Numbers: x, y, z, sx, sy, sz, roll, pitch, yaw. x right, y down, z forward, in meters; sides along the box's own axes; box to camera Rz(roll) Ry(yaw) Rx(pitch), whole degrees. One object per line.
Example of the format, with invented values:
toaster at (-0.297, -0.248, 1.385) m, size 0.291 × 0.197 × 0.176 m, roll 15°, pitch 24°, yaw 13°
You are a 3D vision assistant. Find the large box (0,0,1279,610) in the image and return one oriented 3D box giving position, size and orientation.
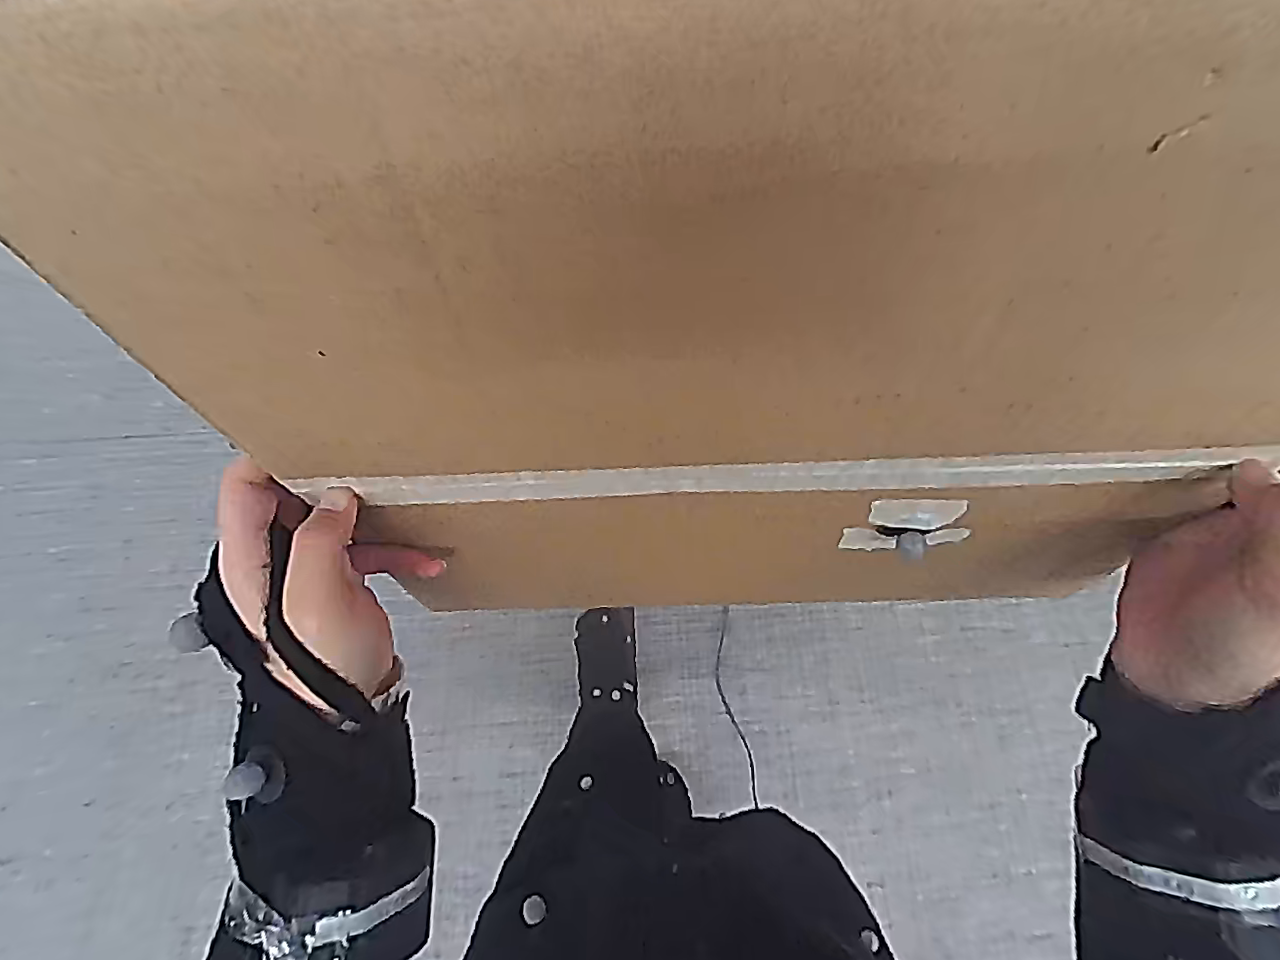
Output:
large box at (0.047, -0.132, 0.310) m, size 0.408 × 0.320 × 0.320 m, roll -3°, pitch 58°, yaw 3°
